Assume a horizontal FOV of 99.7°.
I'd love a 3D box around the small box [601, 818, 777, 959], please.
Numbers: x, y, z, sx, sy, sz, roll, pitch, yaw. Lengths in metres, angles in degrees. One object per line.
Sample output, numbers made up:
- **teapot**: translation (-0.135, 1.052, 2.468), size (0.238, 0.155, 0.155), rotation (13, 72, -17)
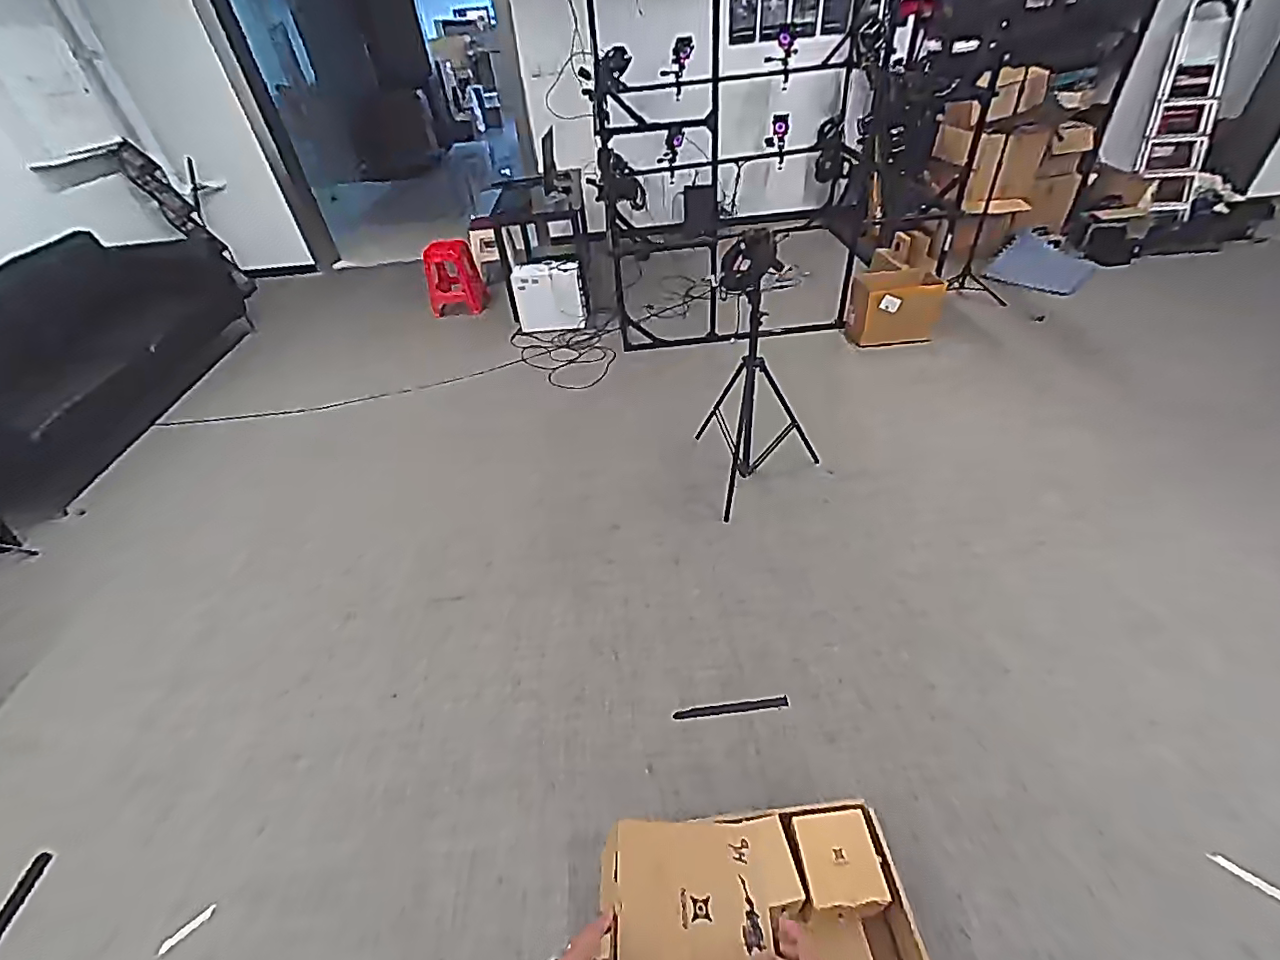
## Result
- **small box**: translation (0.046, 0.519, 0.639), size (0.179, 0.176, 0.168), rotation (6, 44, -6)
